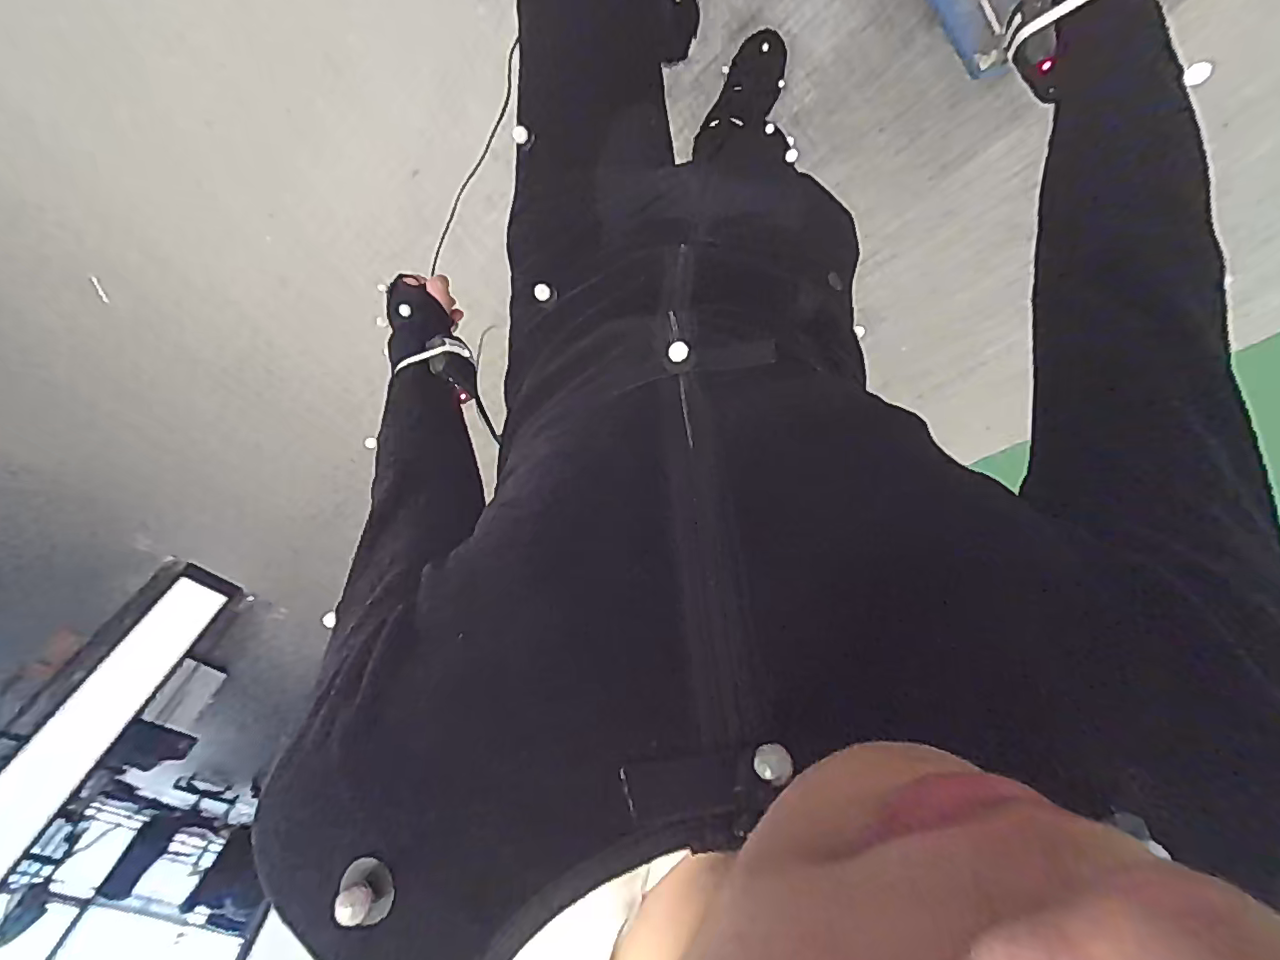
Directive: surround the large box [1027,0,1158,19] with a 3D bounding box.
[{"bbox_3d":[0.677,-0.879,0.651,0.320,0.320,0.408,38,127,-24],"label":"large box"}]
